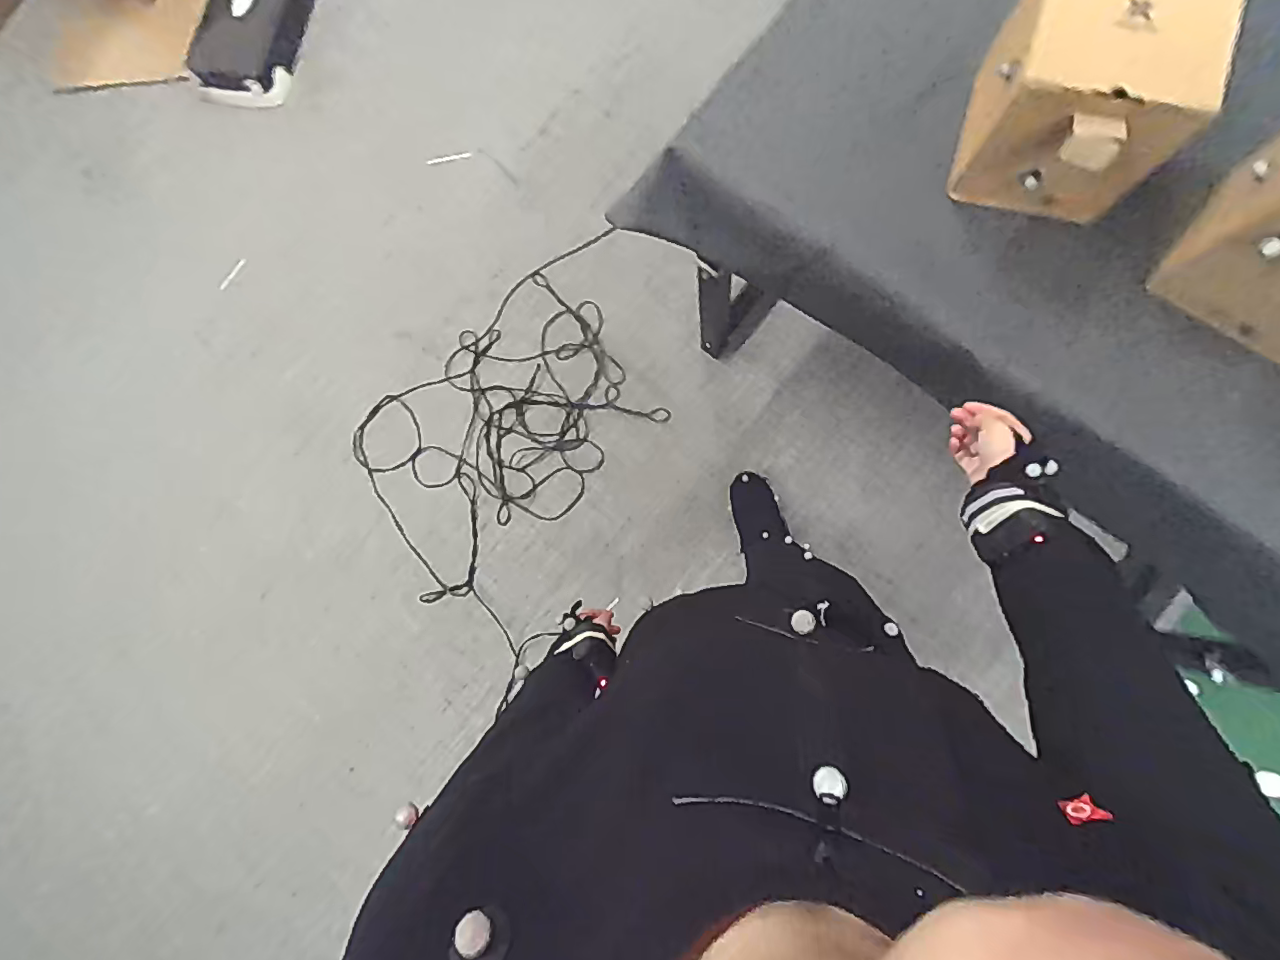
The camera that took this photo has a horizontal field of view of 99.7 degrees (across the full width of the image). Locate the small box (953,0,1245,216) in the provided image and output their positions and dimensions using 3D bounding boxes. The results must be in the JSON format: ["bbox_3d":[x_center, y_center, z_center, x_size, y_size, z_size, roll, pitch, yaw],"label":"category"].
[{"bbox_3d":[0.464,-0.420,0.571,0.168,0.176,0.179,16,85,8],"label":"small box"}]
